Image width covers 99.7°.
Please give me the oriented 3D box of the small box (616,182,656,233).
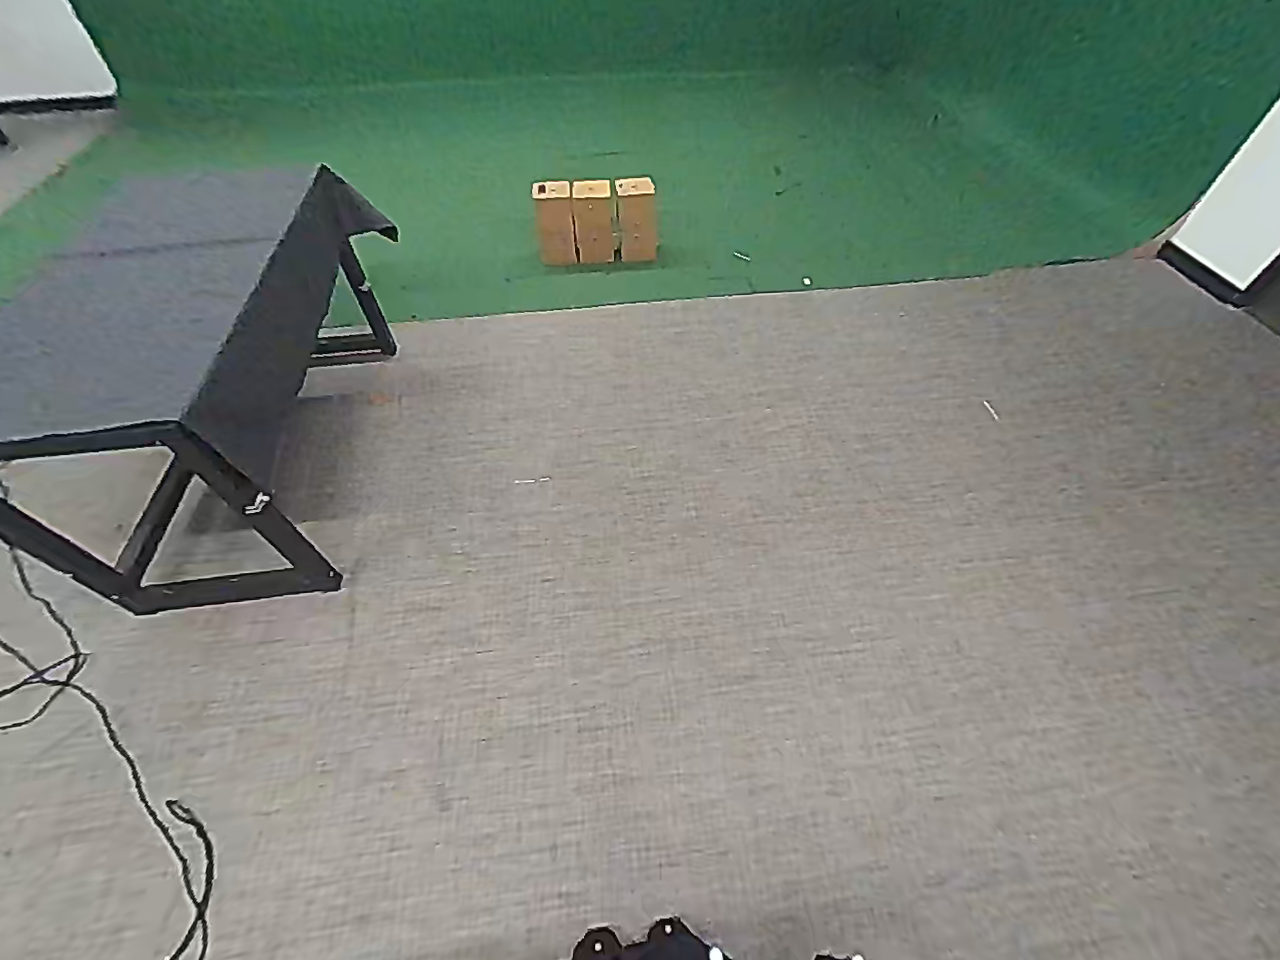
[{"bbox_3d":[-0.023,-1.315,2.613,0.179,0.176,0.168,-5,52,-5],"label":"small box"}]
